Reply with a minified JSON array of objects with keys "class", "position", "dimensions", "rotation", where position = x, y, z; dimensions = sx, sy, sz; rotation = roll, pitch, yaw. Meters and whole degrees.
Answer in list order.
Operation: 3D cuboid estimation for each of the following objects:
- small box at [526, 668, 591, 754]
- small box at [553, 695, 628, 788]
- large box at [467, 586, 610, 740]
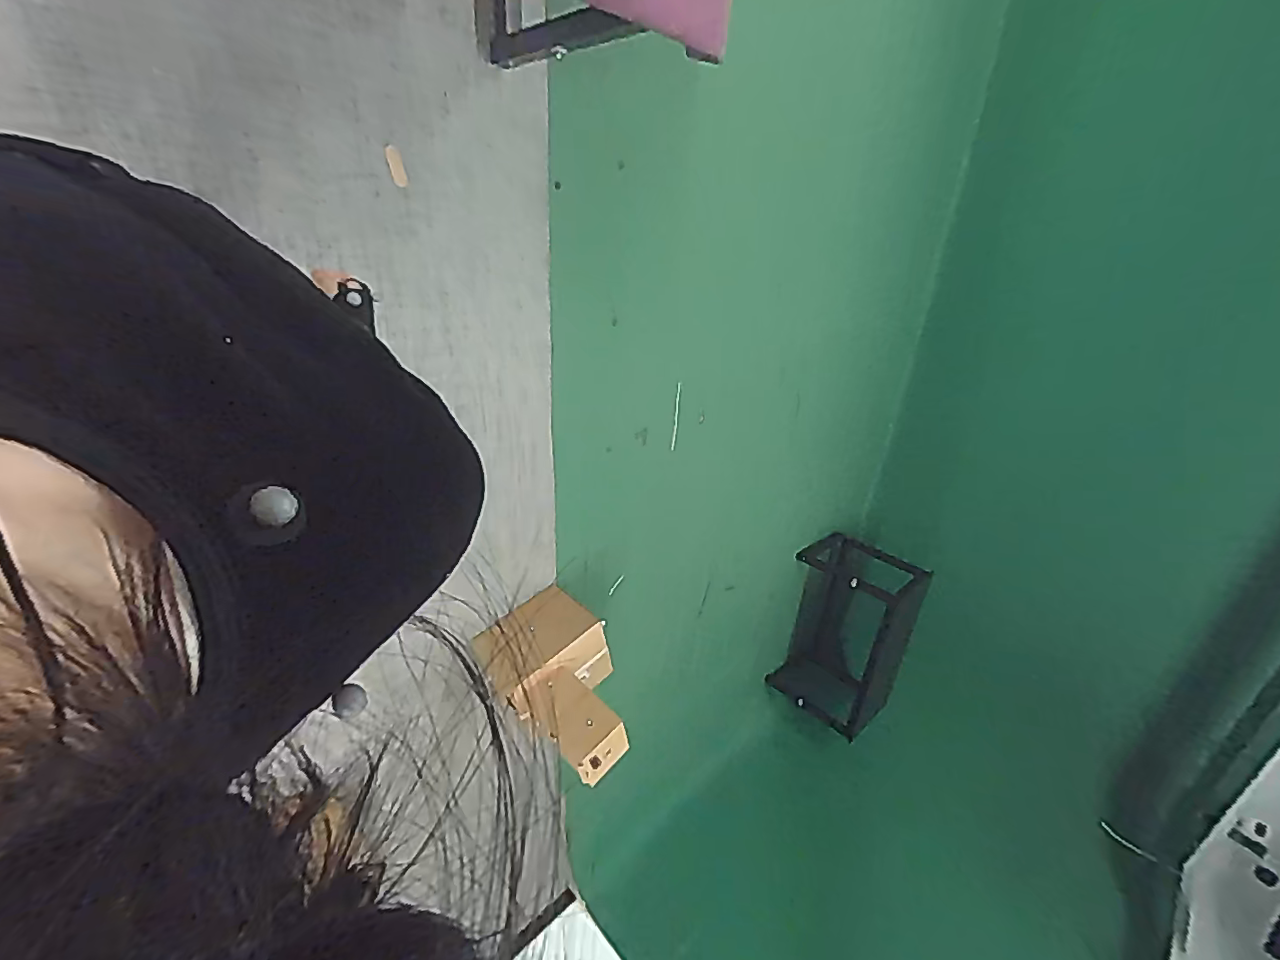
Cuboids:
[{"class":"small box","position":[-0.281,0.801,1.887],"dimensions":[0.179,0.176,0.168],"rotation":[-29,129,-34]},{"class":"small box","position":[-0.168,0.856,1.780],"dimensions":[0.179,0.176,0.168],"rotation":[-34,131,-32]},{"class":"large box","position":[-0.386,0.693,2.099],"dimensions":[0.408,0.320,0.320],"rotation":[-34,133,-32]}]
